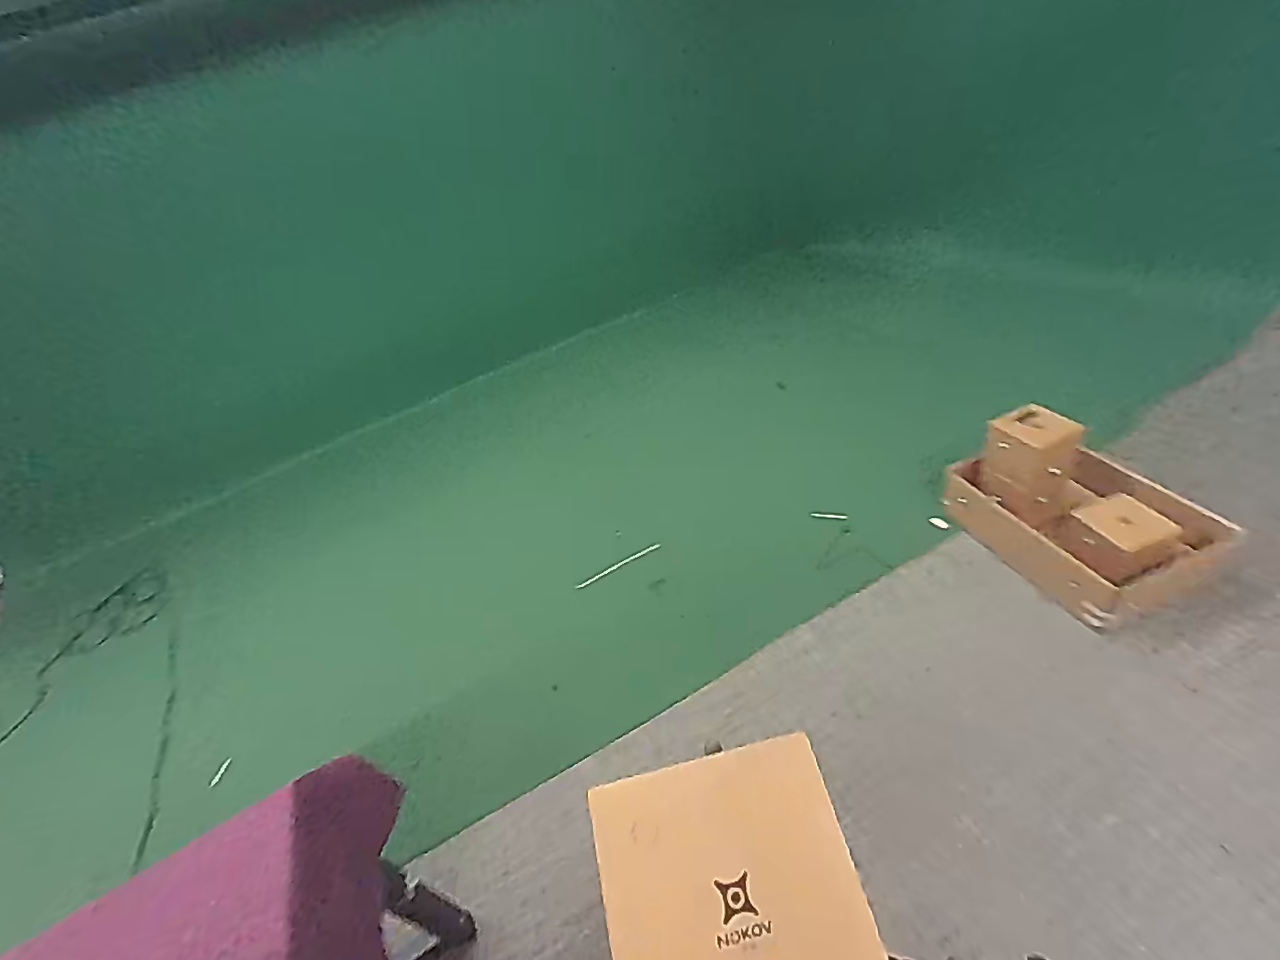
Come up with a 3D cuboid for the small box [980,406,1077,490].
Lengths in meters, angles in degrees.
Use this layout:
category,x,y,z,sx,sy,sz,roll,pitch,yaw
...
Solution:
category,x,y,z,sx,sy,sz,roll,pitch,yaw
small box,1.202,-0.100,1.690,0.168,0.176,0.179,-23,37,-6
